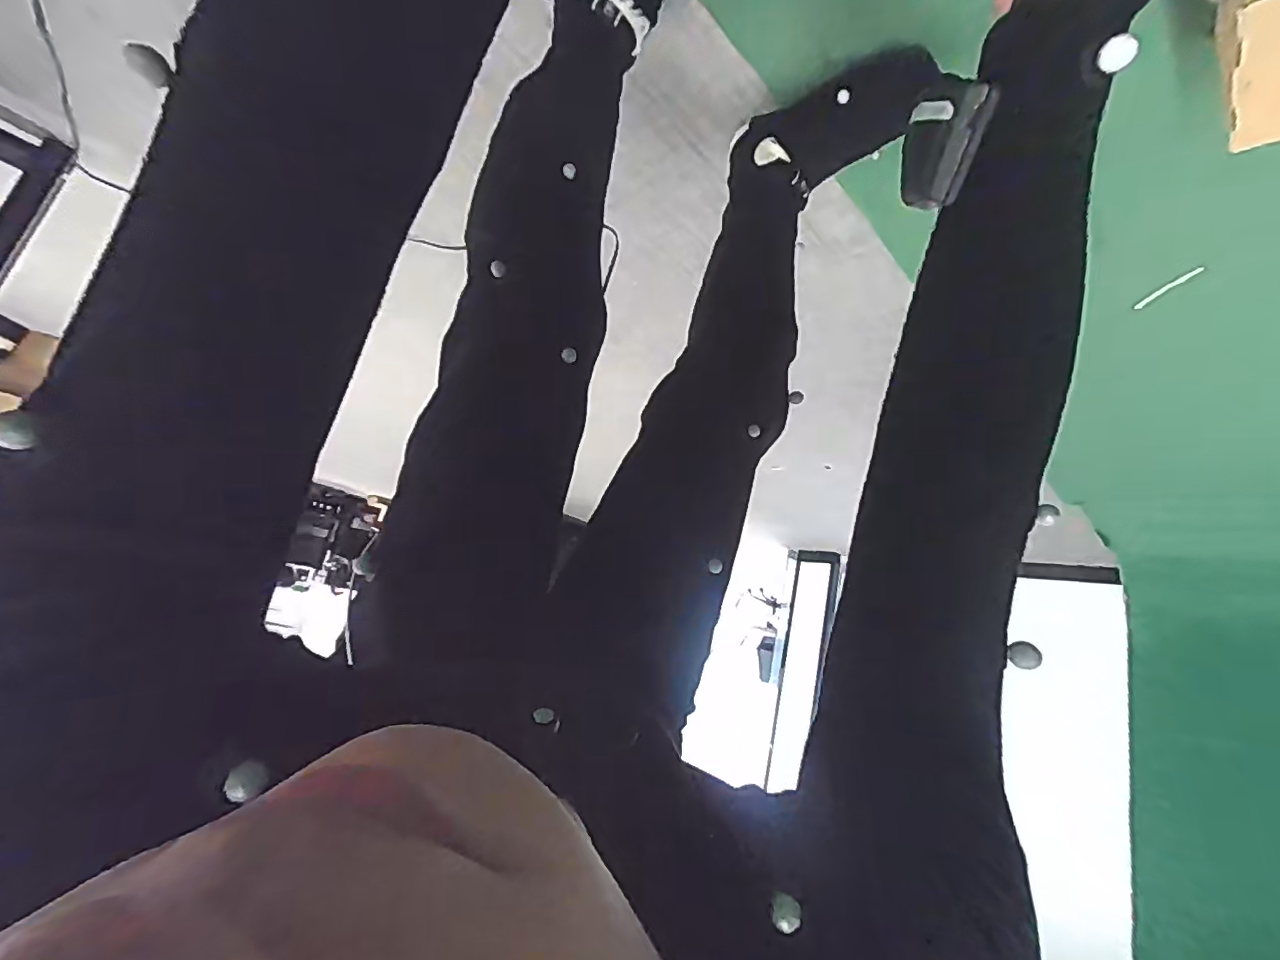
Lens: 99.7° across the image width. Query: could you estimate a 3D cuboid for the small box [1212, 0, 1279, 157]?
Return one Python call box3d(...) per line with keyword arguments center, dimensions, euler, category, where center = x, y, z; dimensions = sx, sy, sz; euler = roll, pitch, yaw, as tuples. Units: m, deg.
box3d(center=(0.616, -0.431, 0.455), dimensions=(0.179, 0.176, 0.168), euler=(-1, 160, 45), category="small box")
